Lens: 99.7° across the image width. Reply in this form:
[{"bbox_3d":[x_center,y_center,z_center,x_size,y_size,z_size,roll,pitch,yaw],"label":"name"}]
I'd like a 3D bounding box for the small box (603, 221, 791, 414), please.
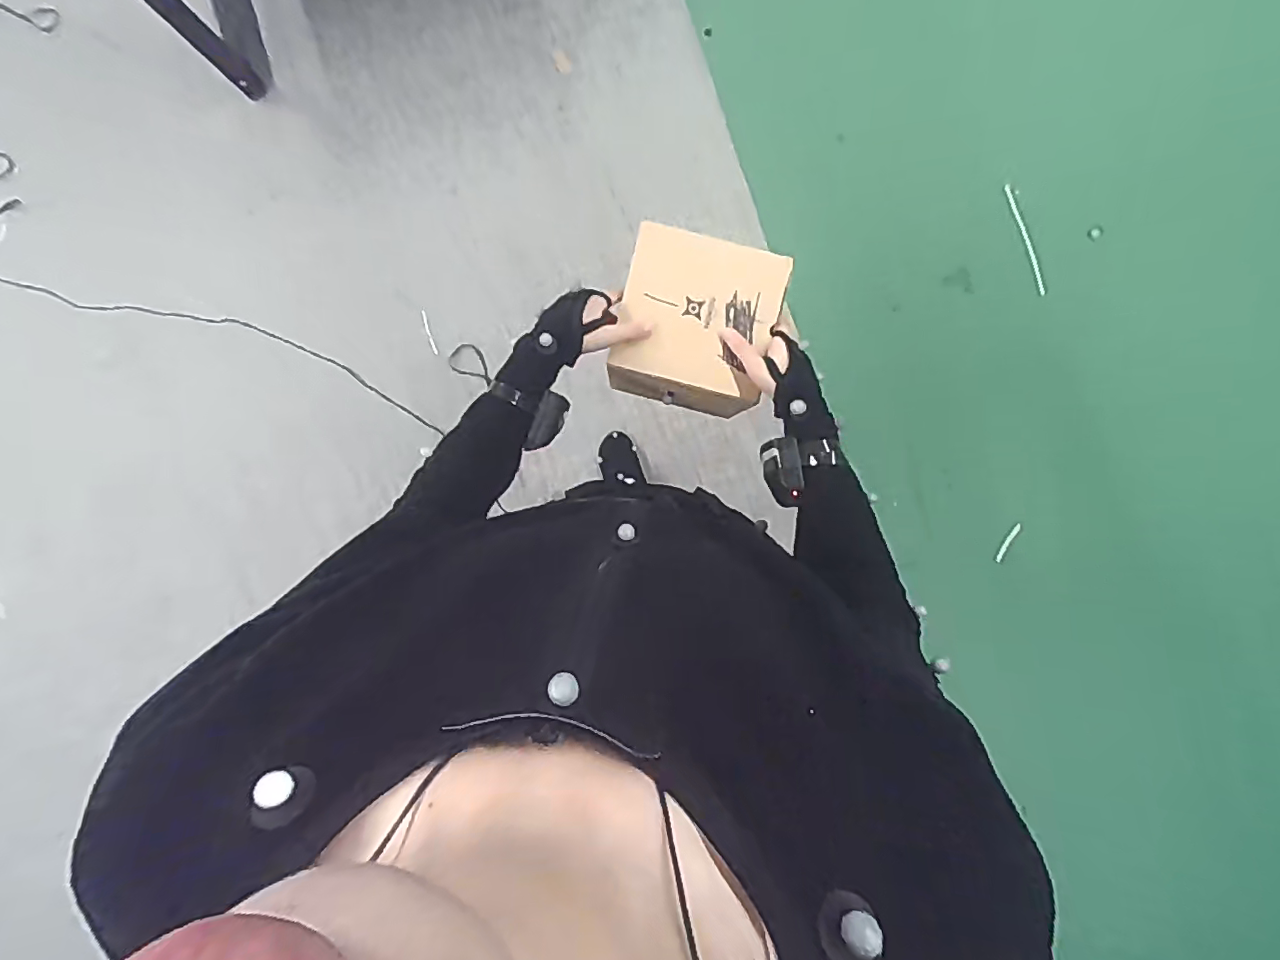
[{"bbox_3d":[0.060,-0.184,0.669,0.179,0.176,0.168,14,90,-1],"label":"small box"}]
